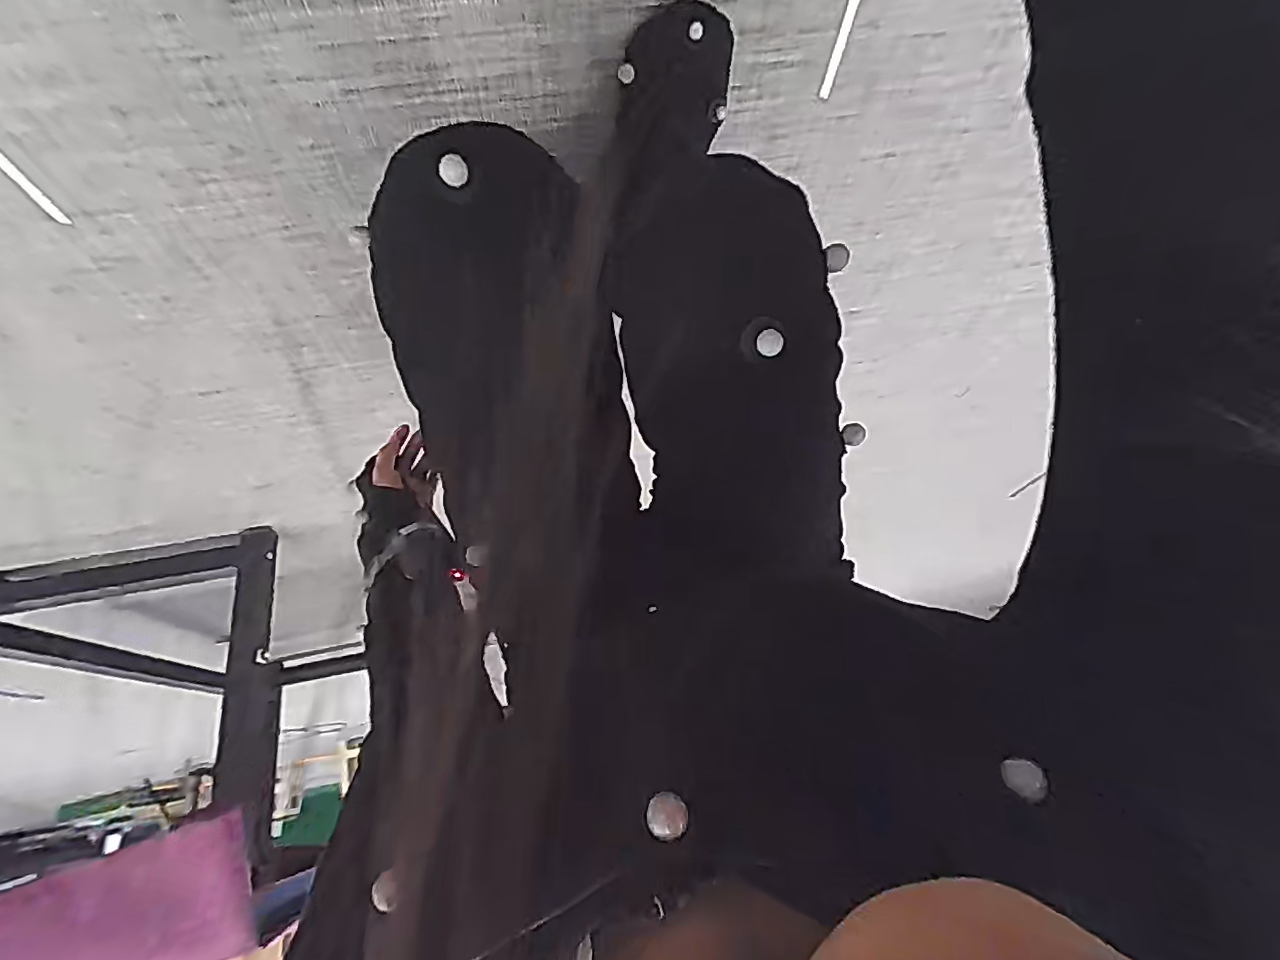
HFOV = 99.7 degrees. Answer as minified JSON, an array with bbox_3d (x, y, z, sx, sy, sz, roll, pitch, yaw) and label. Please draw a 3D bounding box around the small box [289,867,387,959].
[{"bbox_3d":[-0.762,1.105,1.366,0.179,0.176,0.168,-10,155,-6],"label":"small box"}]
